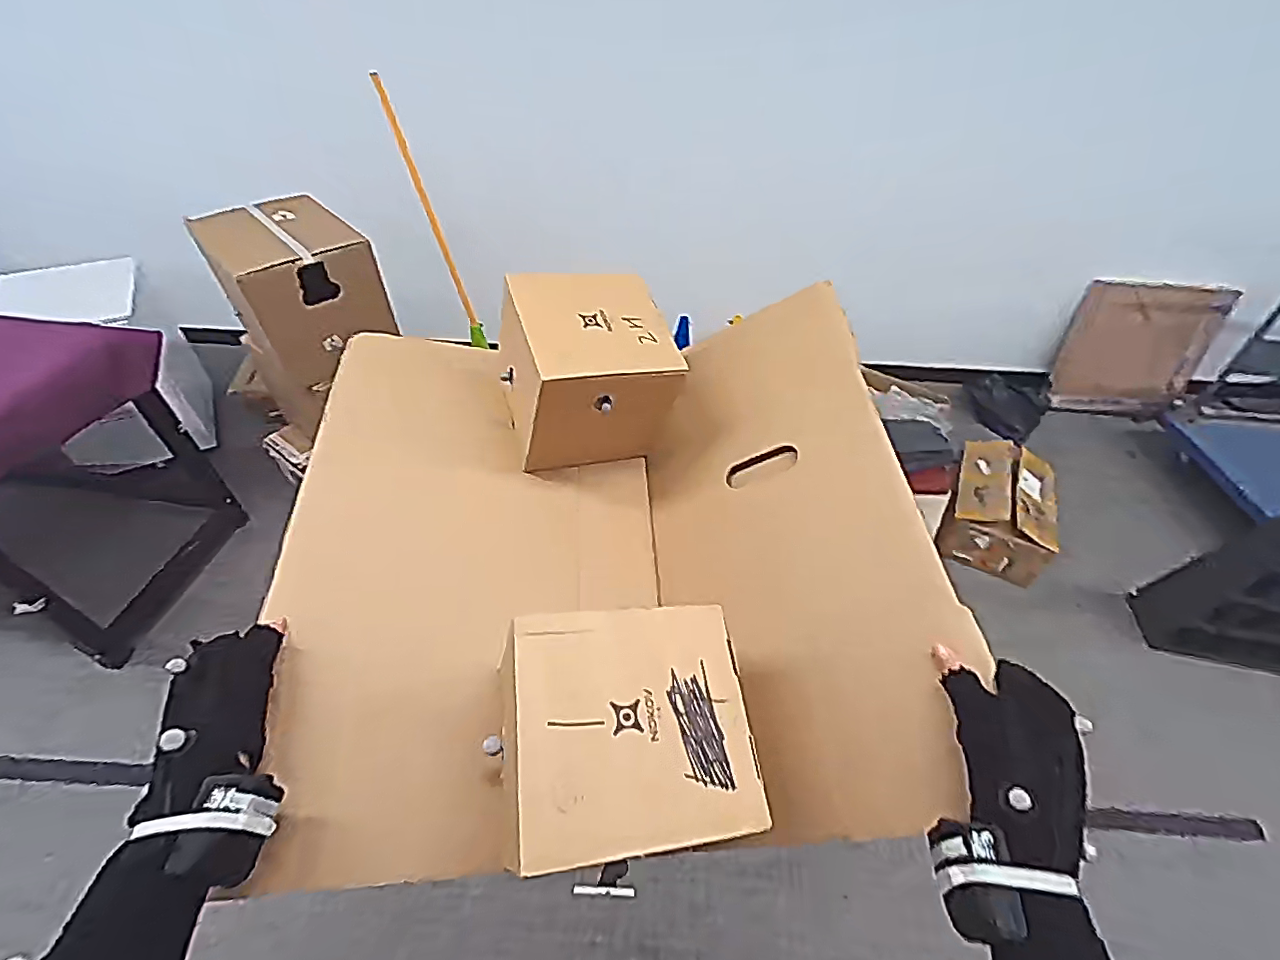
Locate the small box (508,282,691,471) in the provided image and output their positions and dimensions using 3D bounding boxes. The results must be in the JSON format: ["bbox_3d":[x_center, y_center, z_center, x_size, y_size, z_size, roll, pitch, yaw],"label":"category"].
[{"bbox_3d":[-0.065,-0.126,0.680,0.179,0.176,0.168,-8,60,-24],"label":"small box"}]
